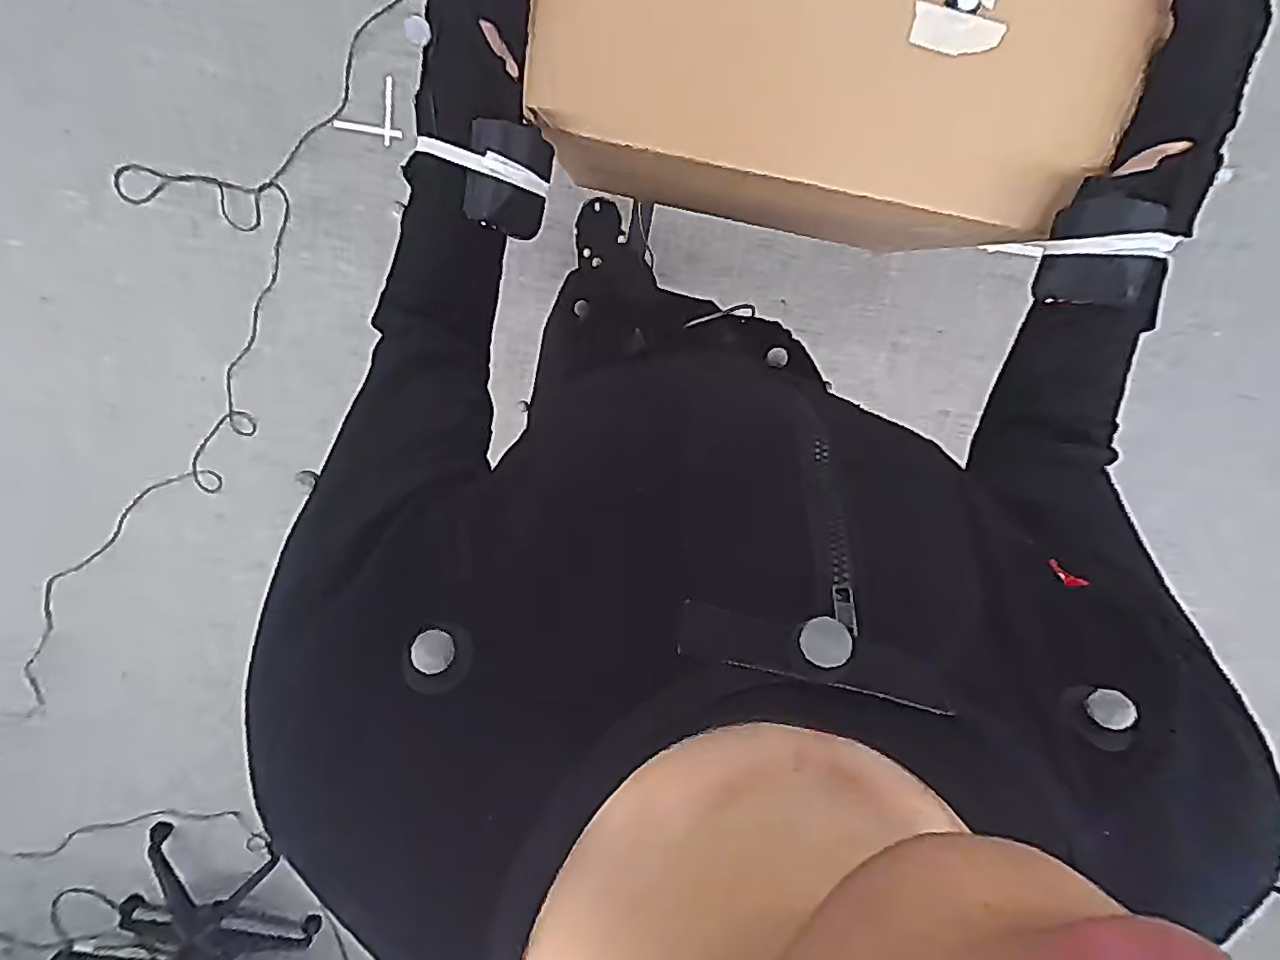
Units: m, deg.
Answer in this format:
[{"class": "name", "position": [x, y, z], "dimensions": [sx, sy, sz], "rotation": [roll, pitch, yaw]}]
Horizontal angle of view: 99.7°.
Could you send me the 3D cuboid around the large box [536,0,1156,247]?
[{"class": "large box", "position": [0.141, -0.408, 0.477], "dimensions": [0.408, 0.320, 0.320], "rotation": [9, 112, -5]}]
